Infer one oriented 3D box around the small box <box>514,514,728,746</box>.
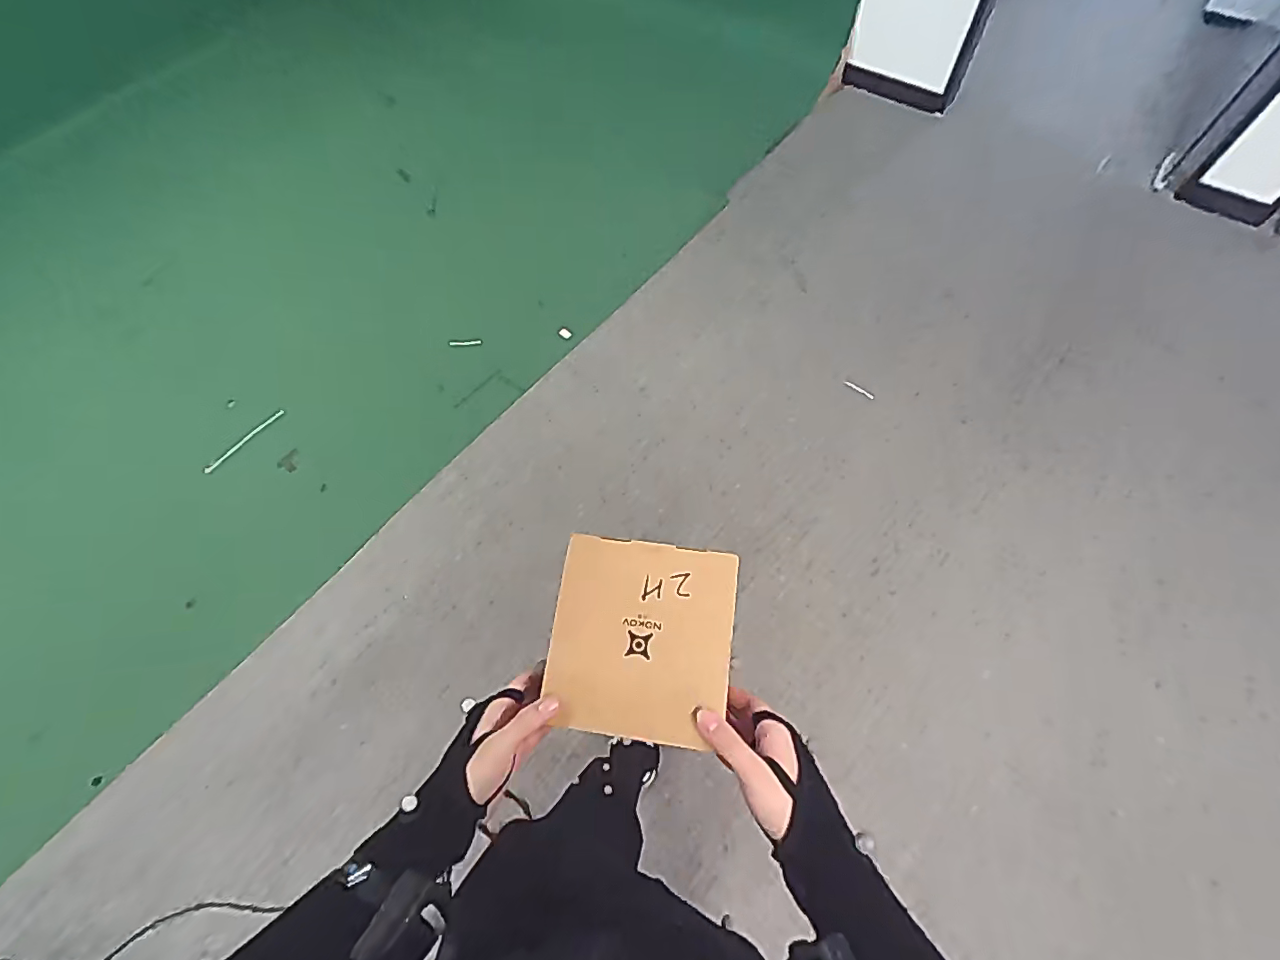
[{"bbox_3d":[-0.010,0.151,0.554,0.168,0.176,0.179,9,72,5],"label":"small box"}]
